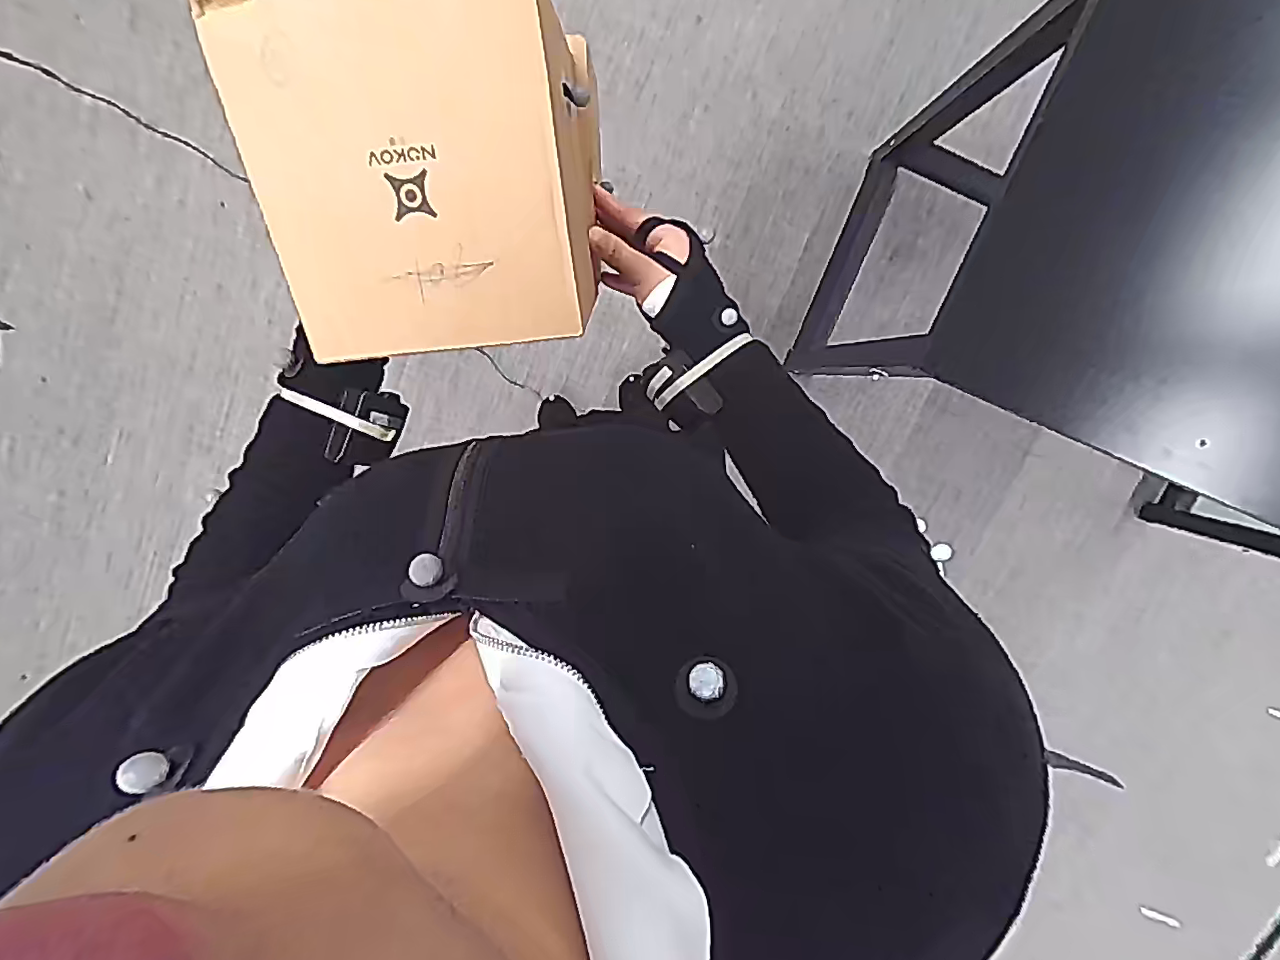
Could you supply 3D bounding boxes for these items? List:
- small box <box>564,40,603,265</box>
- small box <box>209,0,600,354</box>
[{"bbox_3d":[-0.122,-0.281,0.507,0.168,0.176,0.179,-1,115,-2],"label":"small box"},{"bbox_3d":[-0.121,-0.197,0.366,0.168,0.176,0.179,-5,117,2],"label":"small box"}]
